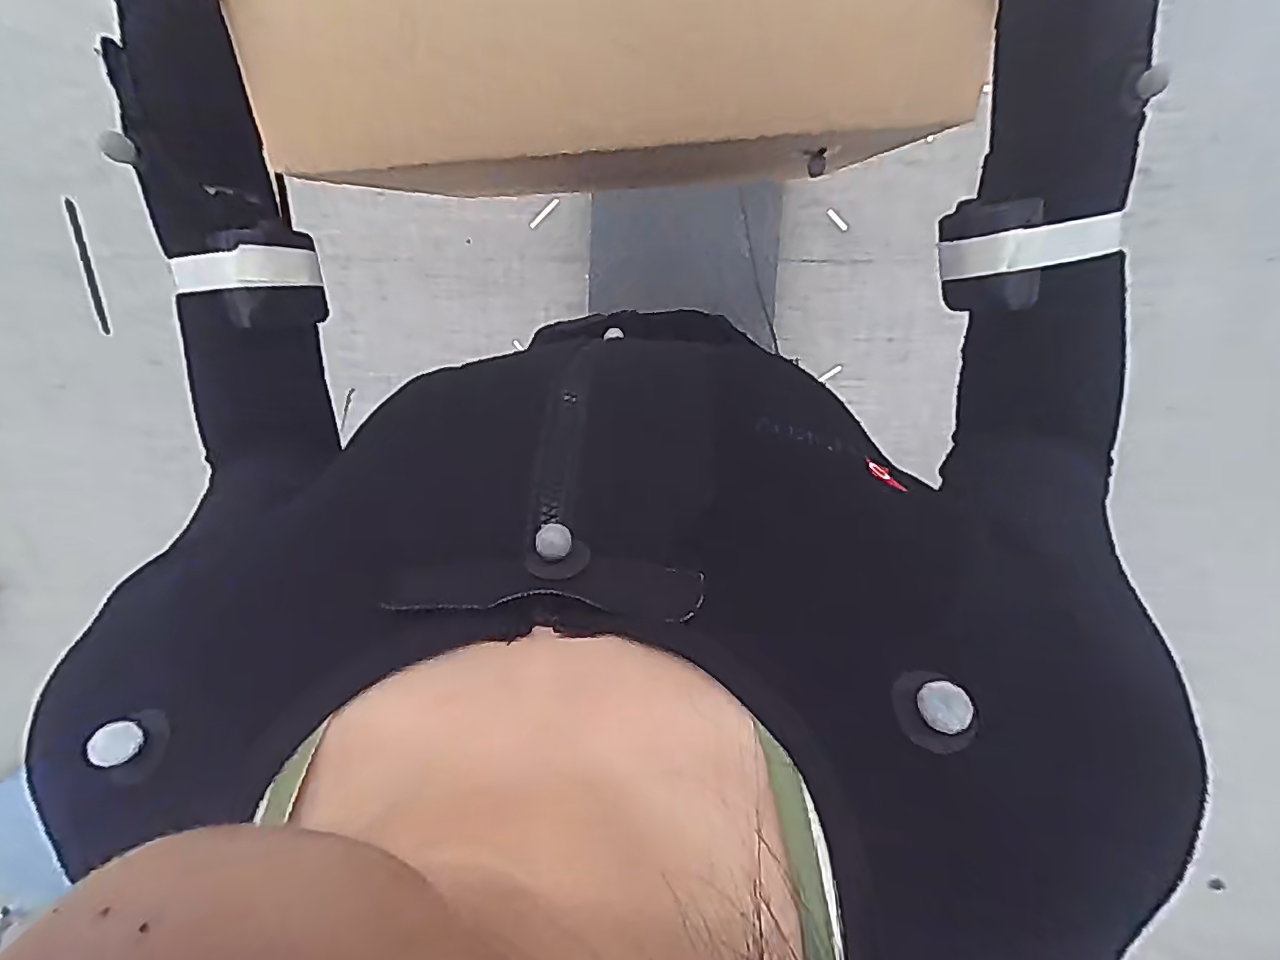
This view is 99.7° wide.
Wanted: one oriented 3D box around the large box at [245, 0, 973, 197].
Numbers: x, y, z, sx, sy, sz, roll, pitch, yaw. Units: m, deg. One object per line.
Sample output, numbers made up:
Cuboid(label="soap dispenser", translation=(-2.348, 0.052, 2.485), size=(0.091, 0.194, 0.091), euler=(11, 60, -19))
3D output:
Cuboid(label="large box", translation=(-0.017, -0.398, 0.393), size=(0.408, 0.320, 0.320), euler=(-2, 114, 5))
